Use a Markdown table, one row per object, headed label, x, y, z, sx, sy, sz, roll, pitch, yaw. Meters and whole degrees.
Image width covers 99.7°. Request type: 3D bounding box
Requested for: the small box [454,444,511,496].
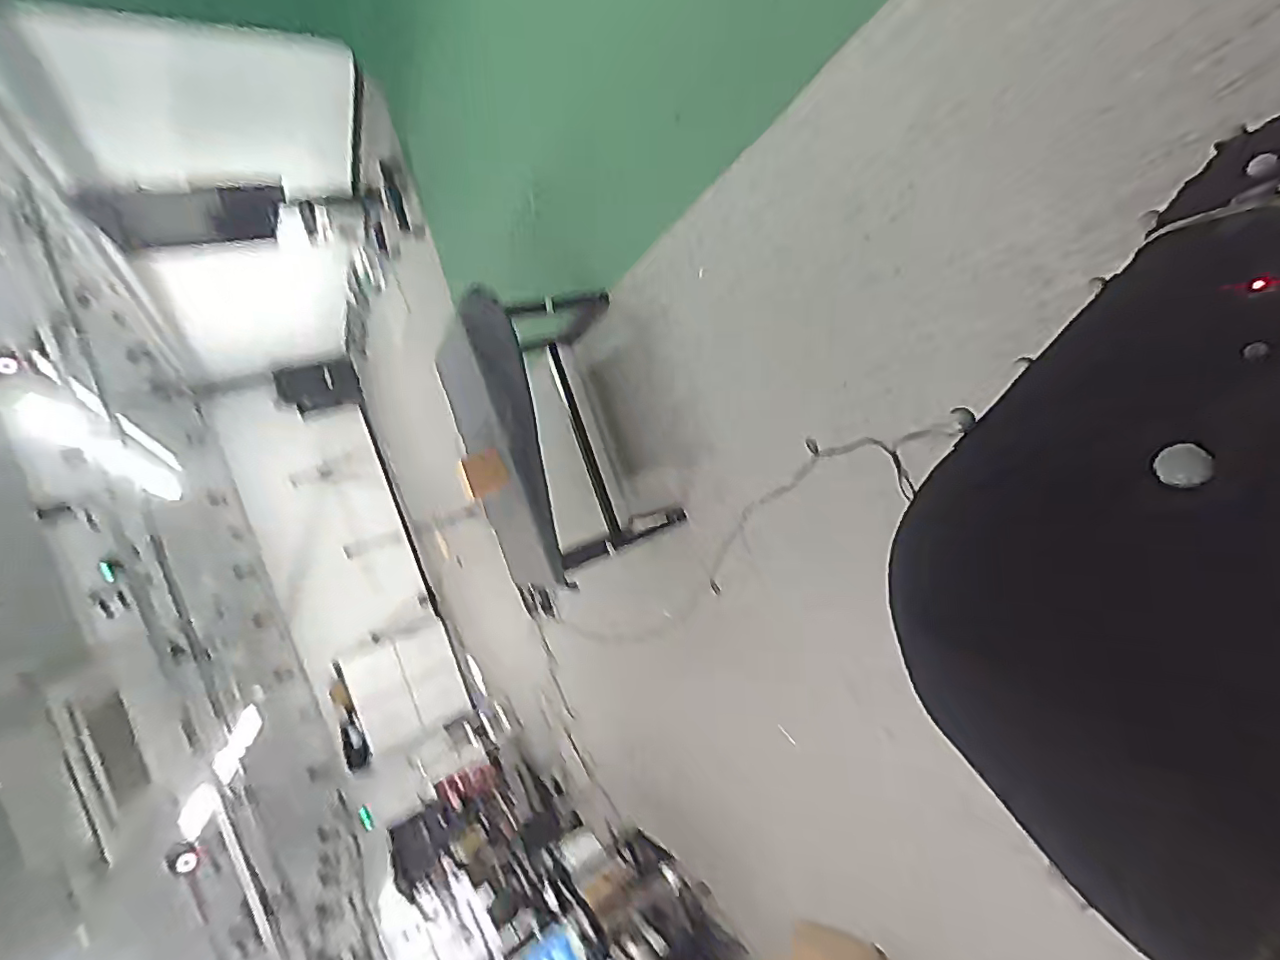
| label | x | y | z | sx | sy | sz | roll | pitch | yaw |
| --- | --- | --- | --- | --- | --- | --- | --- | --- | --- |
| small box | -0.680 | -0.047 | 2.335 | 0.168 | 0.176 | 0.179 | -20 | 92 | 61 |
